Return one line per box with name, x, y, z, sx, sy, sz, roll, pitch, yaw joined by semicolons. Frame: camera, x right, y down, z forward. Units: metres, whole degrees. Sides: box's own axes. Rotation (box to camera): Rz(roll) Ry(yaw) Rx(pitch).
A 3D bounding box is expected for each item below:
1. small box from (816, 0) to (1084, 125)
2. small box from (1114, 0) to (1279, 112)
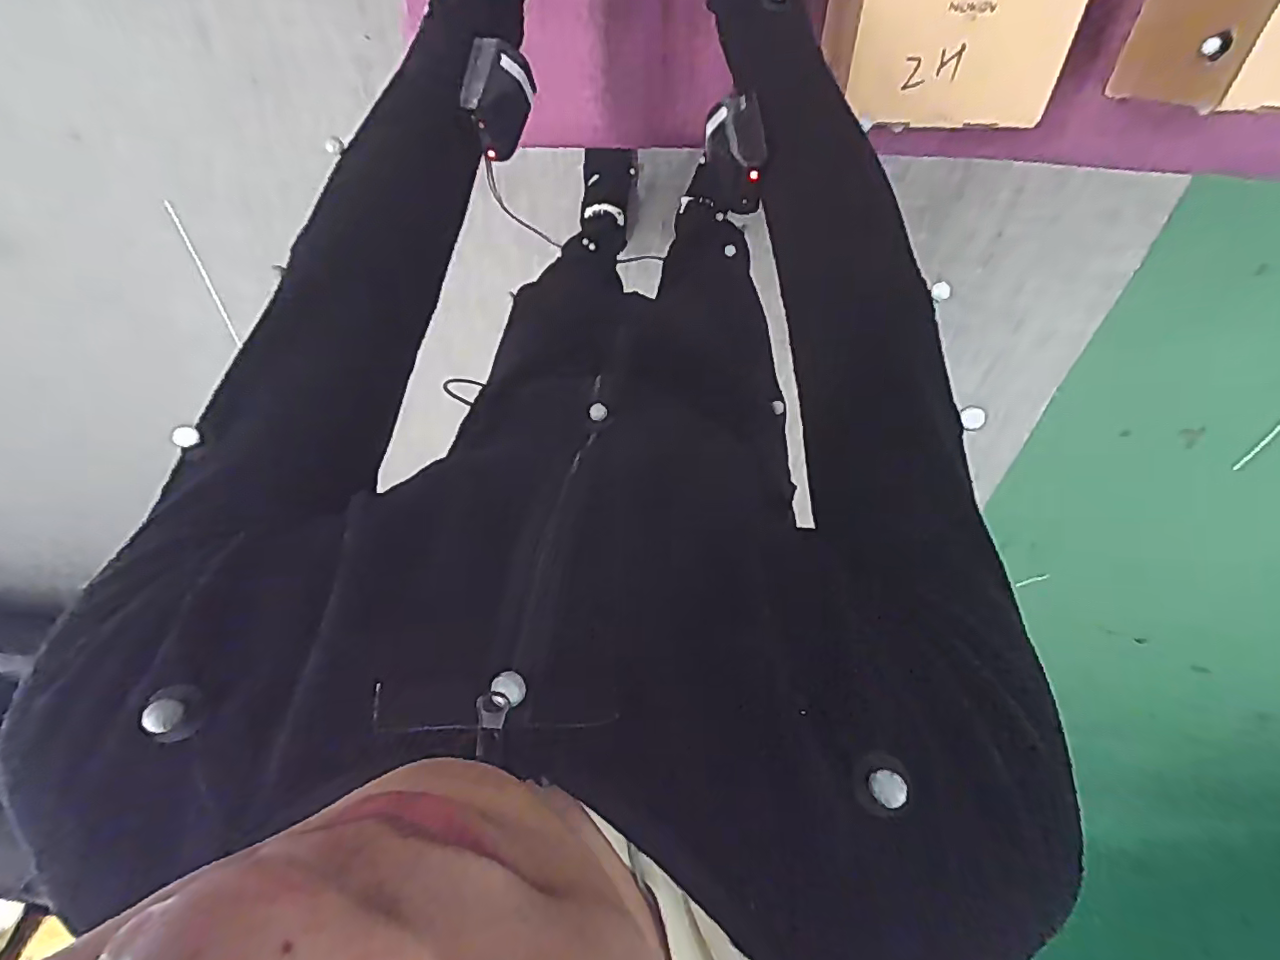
small box;0.262;-0.425;0.471;0.168;0.176;0.179;4;130;4
small box;0.557;-0.416;0.446;0.168;0.176;0.179;4;131;3
